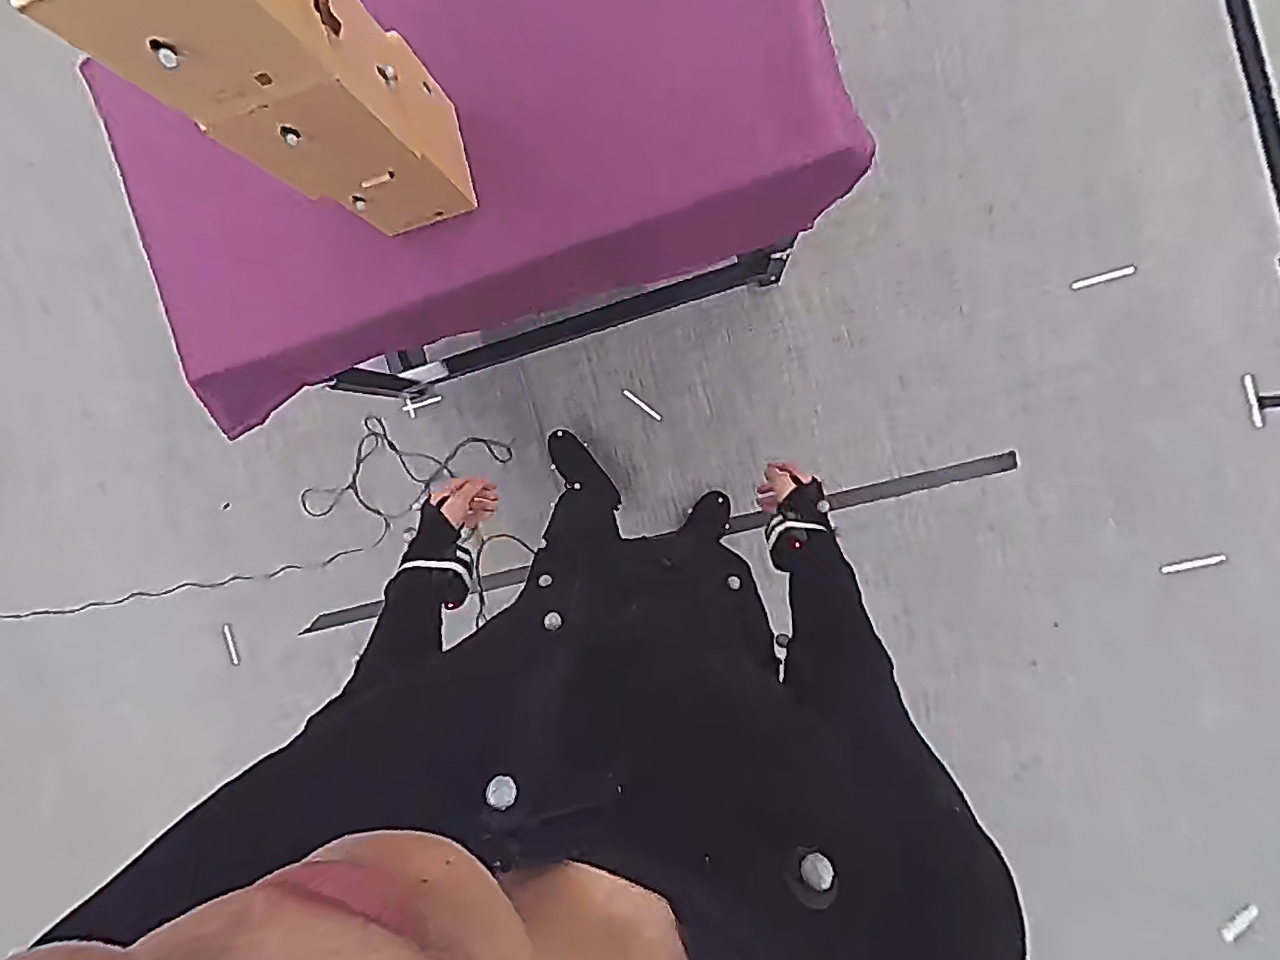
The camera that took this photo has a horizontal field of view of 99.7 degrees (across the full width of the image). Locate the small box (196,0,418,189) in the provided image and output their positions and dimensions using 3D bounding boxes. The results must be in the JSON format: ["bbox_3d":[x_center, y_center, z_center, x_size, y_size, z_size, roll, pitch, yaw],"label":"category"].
[{"bbox_3d":[-0.409,-0.492,0.664,0.179,0.176,0.168,-13,92,8],"label":"small box"}]

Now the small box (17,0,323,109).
[{"bbox_3d":[-0.434,-0.488,0.503,0.168,0.176,0.179,-13,91,9],"label":"small box"}]
